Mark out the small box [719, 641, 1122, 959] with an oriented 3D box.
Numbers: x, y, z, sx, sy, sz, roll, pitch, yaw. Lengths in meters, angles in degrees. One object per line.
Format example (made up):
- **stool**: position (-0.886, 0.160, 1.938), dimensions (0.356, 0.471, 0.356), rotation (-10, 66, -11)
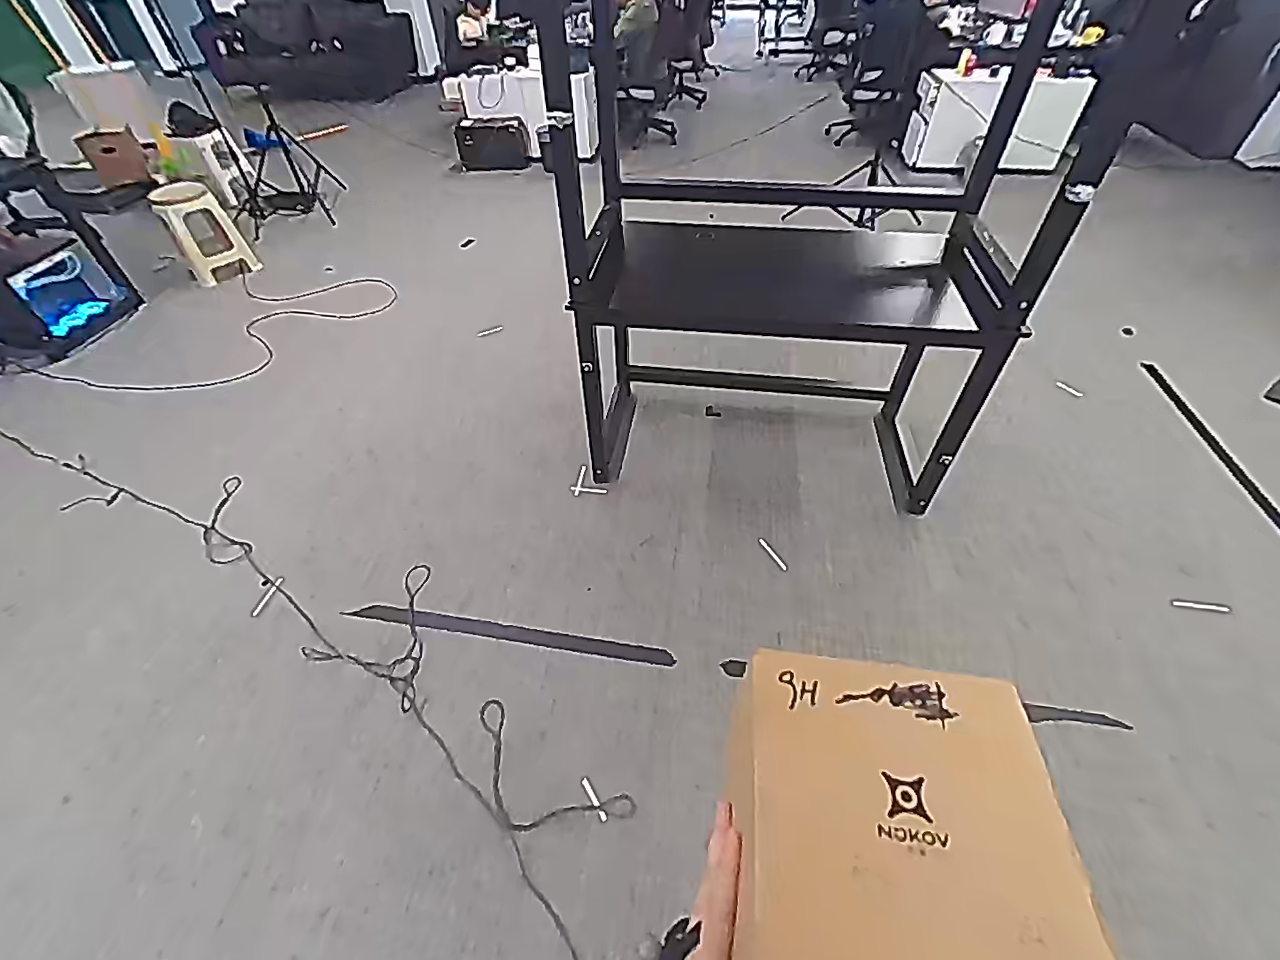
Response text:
- **small box**: position (0.143, 0.229, 0.341), dimensions (0.168, 0.176, 0.179), rotation (6, 47, 5)
